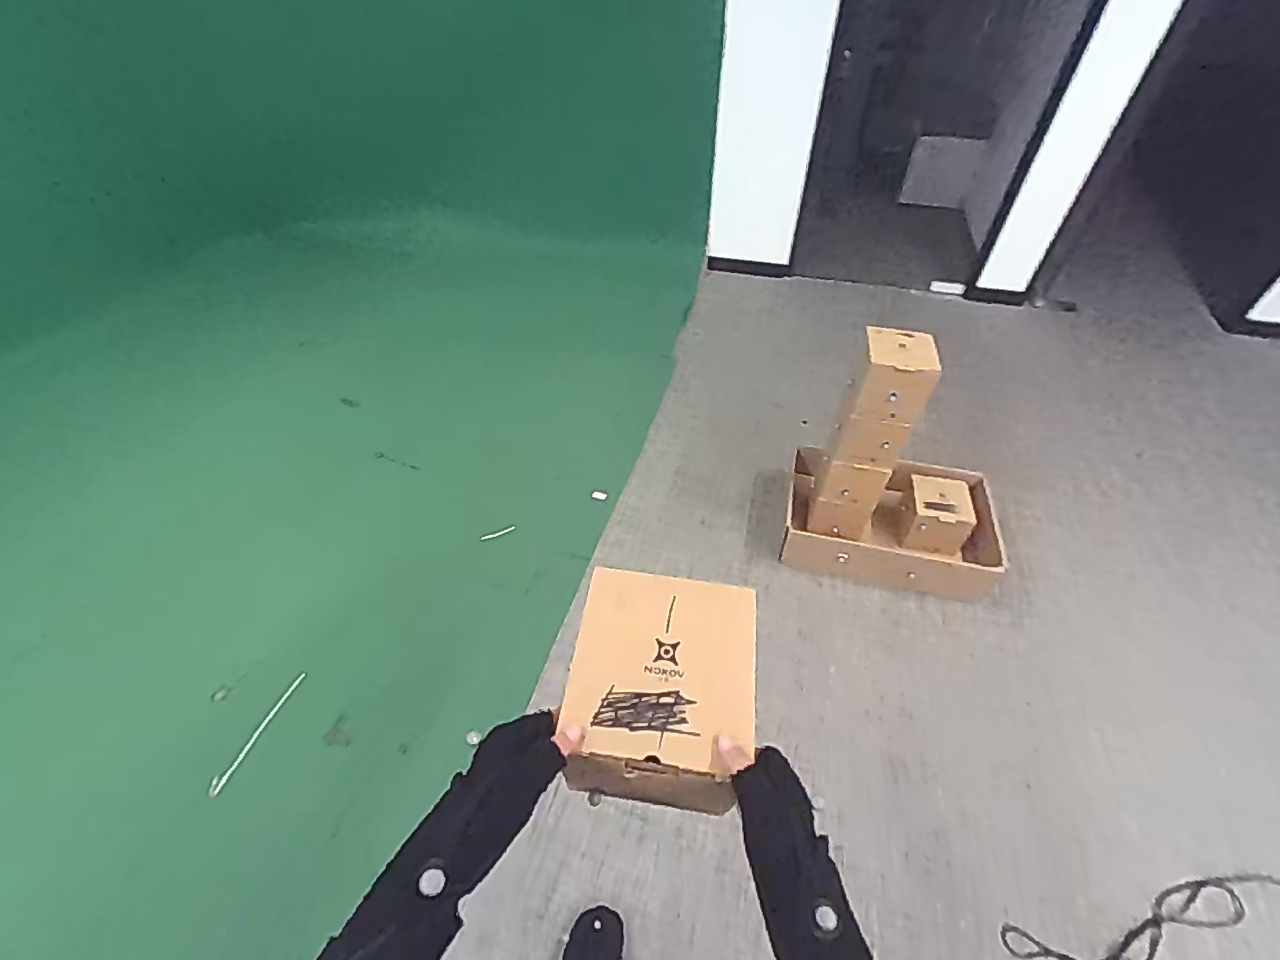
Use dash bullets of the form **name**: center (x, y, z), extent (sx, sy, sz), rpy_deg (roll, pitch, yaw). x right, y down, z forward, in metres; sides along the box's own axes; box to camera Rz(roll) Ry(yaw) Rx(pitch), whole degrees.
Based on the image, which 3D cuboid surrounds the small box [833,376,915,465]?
- **small box**: center (0.650, -0.165, 1.517), extent (0.168, 0.176, 0.179), rpy_deg (11, 47, 8)

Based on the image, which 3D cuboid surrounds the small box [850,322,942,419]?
- **small box**: center (0.654, -0.280, 1.400), extent (0.168, 0.176, 0.179), rpy_deg (11, 48, 7)

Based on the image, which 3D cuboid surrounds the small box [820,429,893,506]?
- **small box**: center (0.648, -0.049, 1.632), extent (0.168, 0.176, 0.179), rpy_deg (12, 48, 10)

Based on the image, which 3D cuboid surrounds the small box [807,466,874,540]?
- **small box**: center (0.645, 0.064, 1.749), extent (0.168, 0.176, 0.179), rpy_deg (12, 48, 11)

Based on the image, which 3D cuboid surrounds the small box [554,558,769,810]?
- **small box**: center (0.023, 0.209, 0.544), extent (0.168, 0.176, 0.179), rpy_deg (13, 51, 5)
